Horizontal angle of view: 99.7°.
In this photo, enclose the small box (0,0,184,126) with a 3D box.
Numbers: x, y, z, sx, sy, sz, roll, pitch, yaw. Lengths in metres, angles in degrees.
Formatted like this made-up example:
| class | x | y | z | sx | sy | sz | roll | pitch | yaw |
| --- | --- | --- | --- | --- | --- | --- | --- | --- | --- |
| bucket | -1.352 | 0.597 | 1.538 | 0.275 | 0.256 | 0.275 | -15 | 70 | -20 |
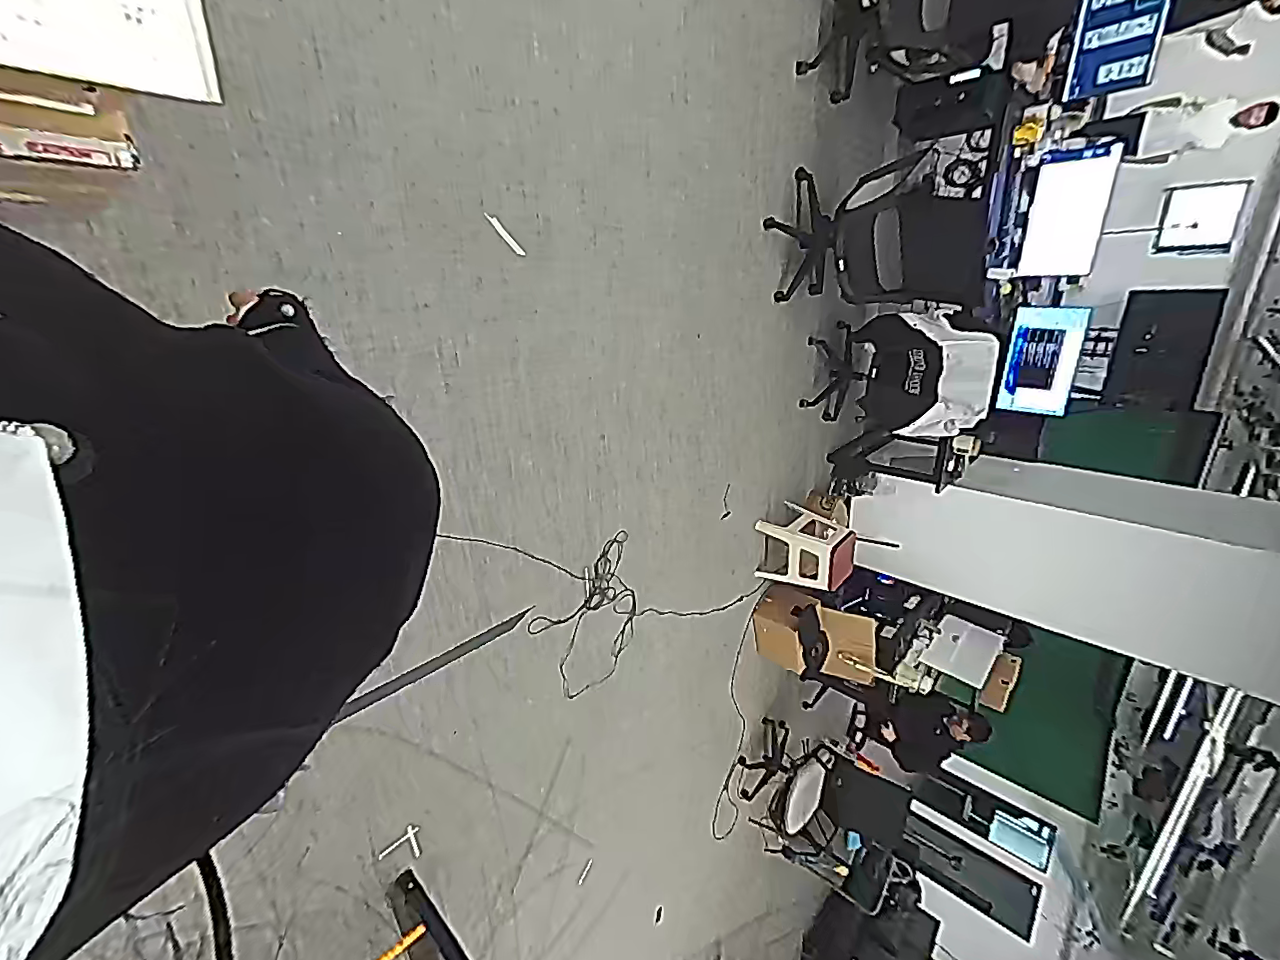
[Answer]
| class | x | y | z | sx | sy | sz | roll | pitch | yaw |
| --- | --- | --- | --- | --- | --- | --- | --- | --- | --- |
| small box | -0.546 | -0.440 | 0.476 | 0.168 | 0.176 | 0.179 | -22 | 120 | -45 |
